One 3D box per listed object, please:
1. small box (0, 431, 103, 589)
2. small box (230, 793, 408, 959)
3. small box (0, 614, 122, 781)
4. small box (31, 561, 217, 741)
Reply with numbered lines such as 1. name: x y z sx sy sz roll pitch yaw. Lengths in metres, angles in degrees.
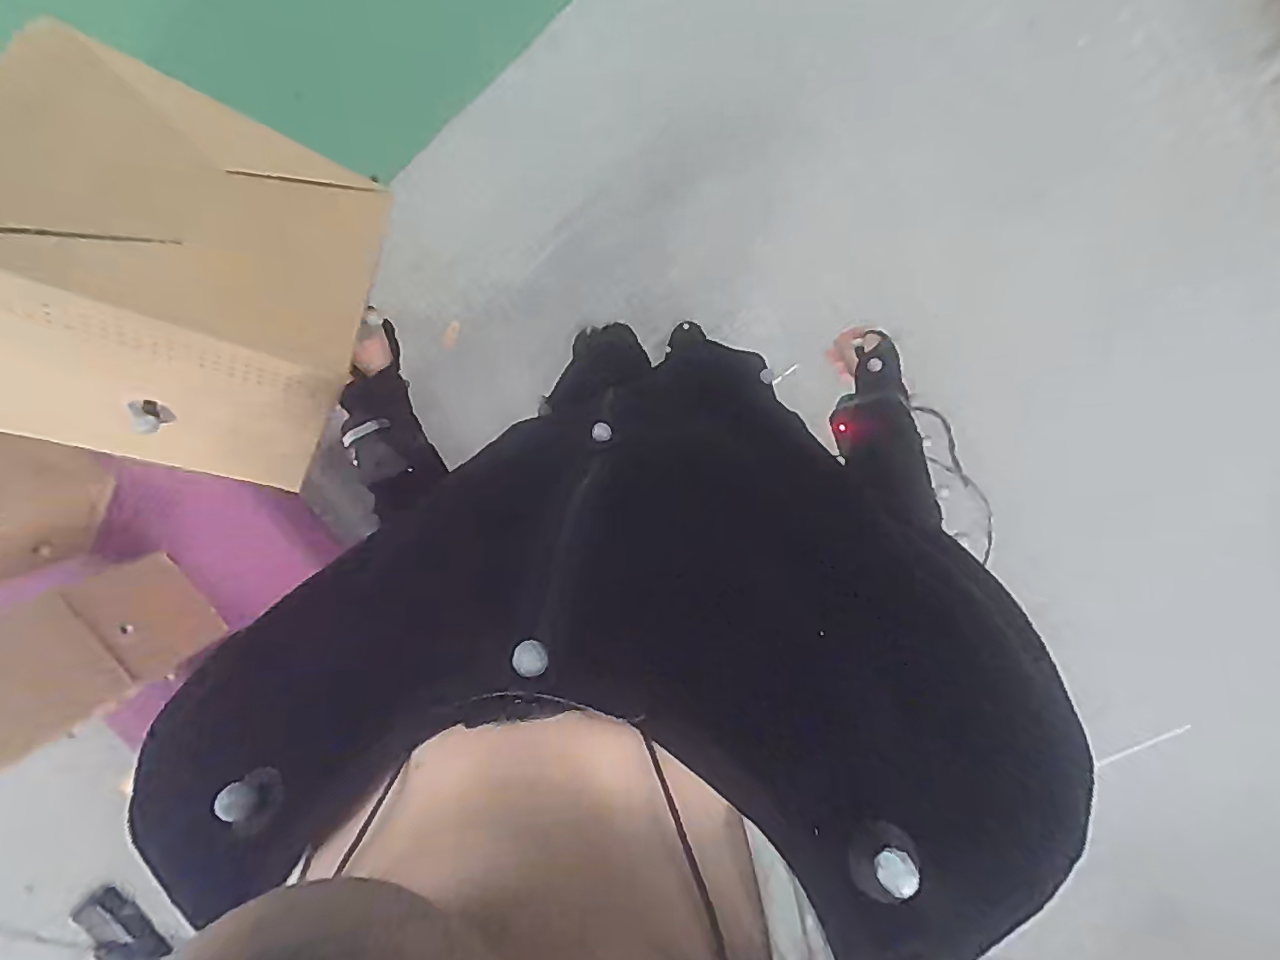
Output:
1. small box: -0.970 0.046 0.802 0.179 0.176 0.168 34 107 -4
2. small box: -0.534 0.687 0.934 0.179 0.176 0.168 -32 100 13
3. small box: -0.843 0.295 0.687 0.168 0.176 0.179 -29 101 13
4. small box: -0.830 0.259 0.848 0.168 0.176 0.179 -30 100 13
